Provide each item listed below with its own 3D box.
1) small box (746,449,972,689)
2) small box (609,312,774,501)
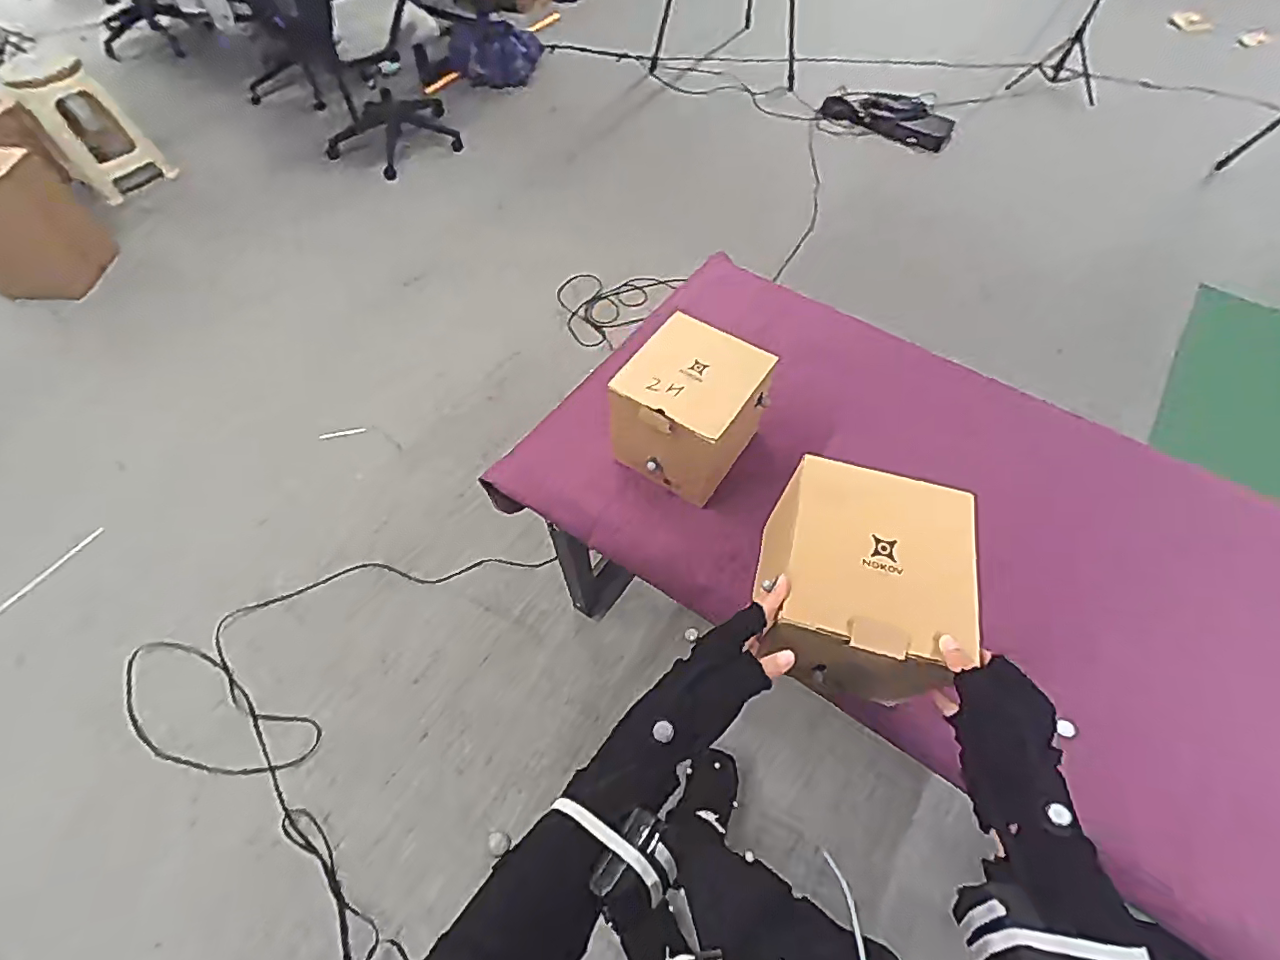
[{"bbox_3d":[0.217,0.099,0.566,0.168,0.176,0.179,14,62,6],"label":"small box"},{"bbox_3d":[0.070,-0.104,0.792,0.168,0.176,0.179,30,63,17],"label":"small box"}]
